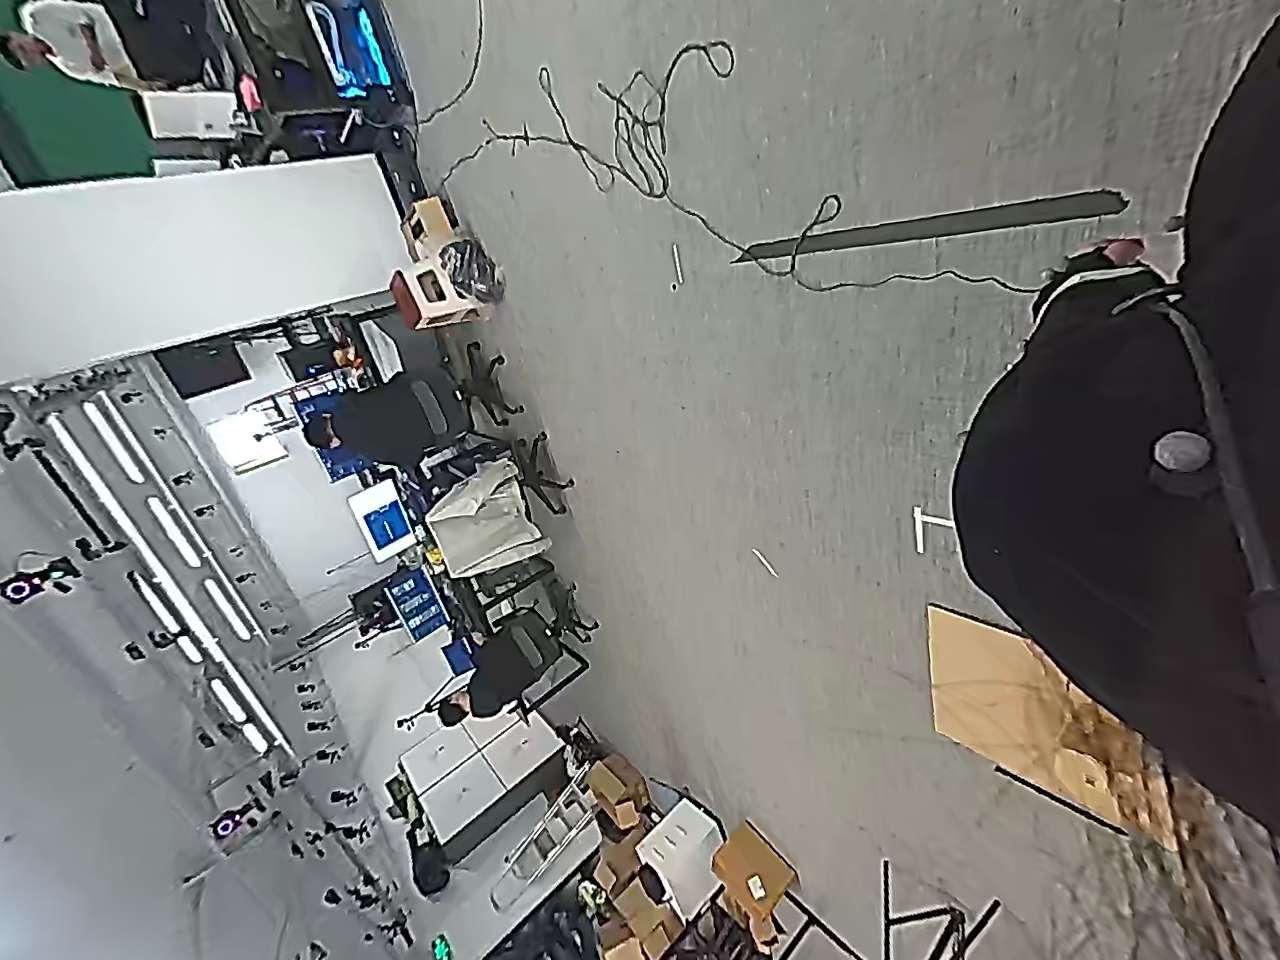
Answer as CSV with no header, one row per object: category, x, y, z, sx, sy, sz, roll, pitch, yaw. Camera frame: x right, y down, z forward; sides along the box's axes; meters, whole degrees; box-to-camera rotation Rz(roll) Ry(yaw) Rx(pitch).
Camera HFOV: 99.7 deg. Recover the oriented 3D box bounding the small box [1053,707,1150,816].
small box,1.299,0.782,1.523,0.168,0.176,0.179,18,130,51
